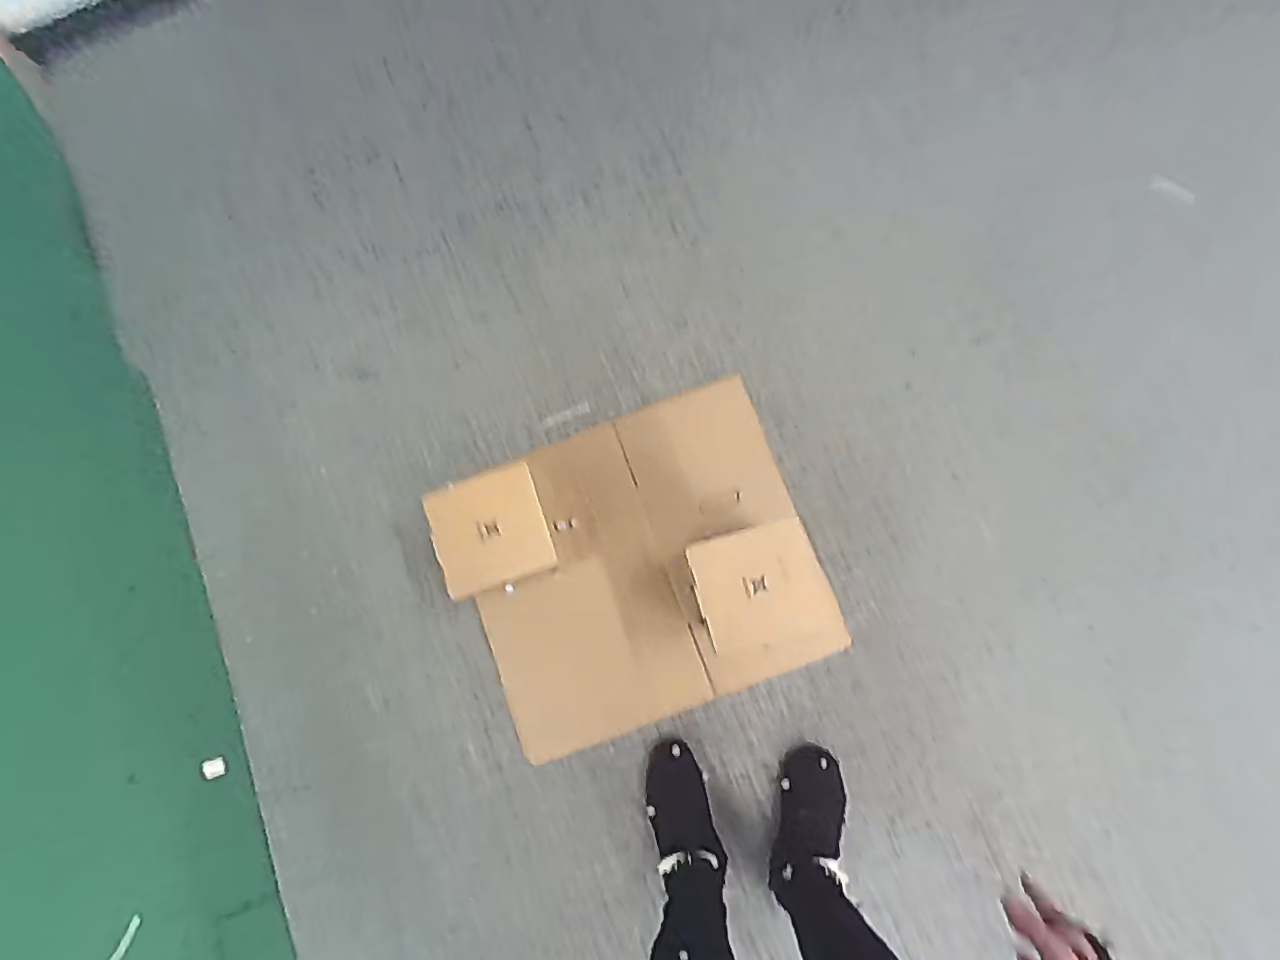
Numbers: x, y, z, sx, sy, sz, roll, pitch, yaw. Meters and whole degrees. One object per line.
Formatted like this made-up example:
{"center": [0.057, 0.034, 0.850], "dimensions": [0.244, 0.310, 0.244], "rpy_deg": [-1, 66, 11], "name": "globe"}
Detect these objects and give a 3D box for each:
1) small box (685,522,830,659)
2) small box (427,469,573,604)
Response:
{"center": [0.177, 0.173, 0.867], "dimensions": [0.179, 0.176, 0.168], "rpy_deg": [-15, 82, 1], "name": "small box"}
{"center": [-0.219, 0.094, 0.902], "dimensions": [0.179, 0.176, 0.168], "rpy_deg": [-19, 82, 1], "name": "small box"}
